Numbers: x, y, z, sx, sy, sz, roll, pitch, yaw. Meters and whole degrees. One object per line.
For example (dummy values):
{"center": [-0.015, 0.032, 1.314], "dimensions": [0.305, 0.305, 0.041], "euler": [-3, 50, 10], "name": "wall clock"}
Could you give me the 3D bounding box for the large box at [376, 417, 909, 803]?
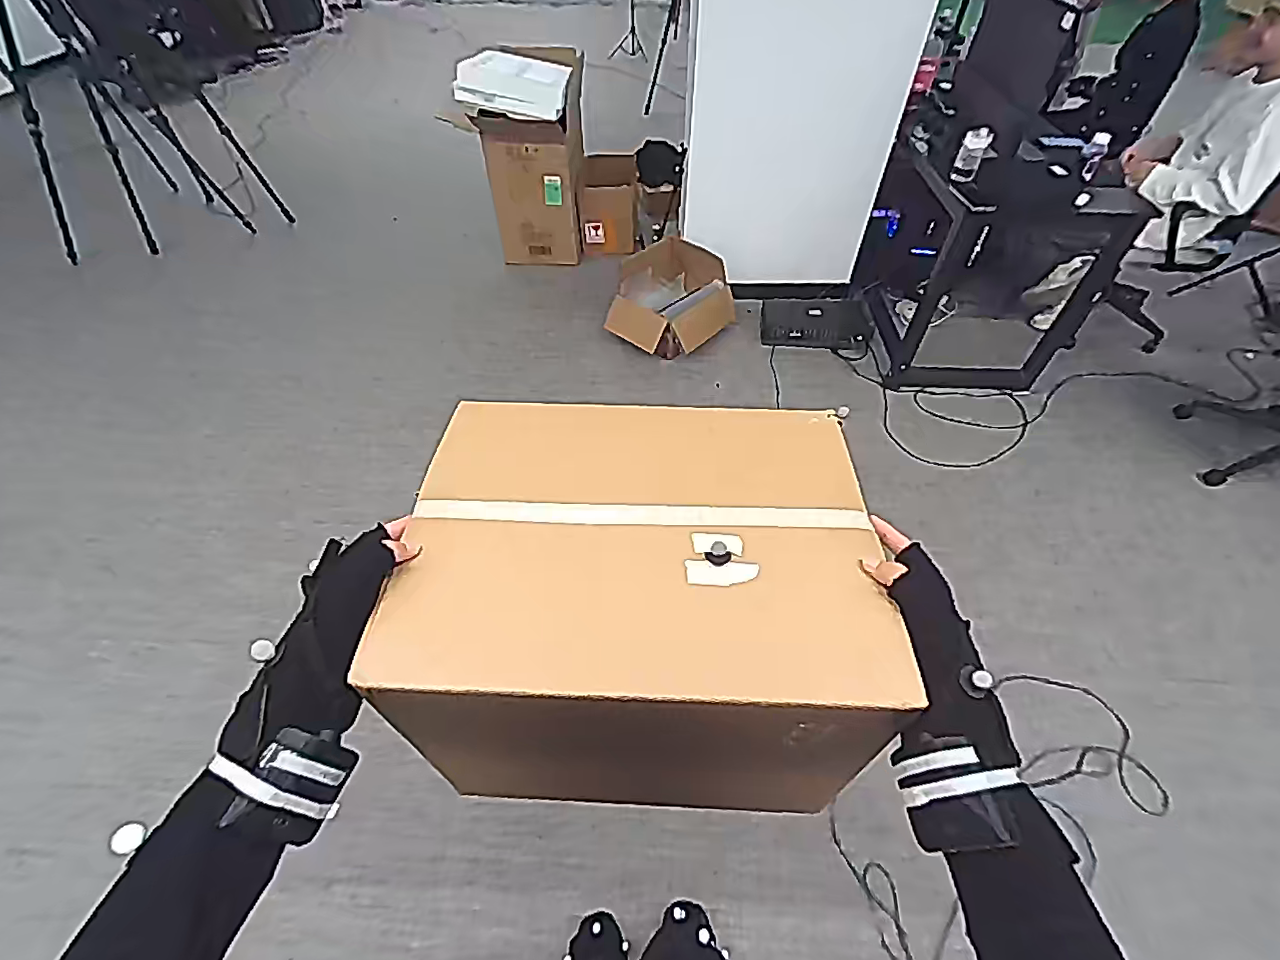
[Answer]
{"center": [0.003, 0.146, 0.605], "dimensions": [0.408, 0.320, 0.320], "euler": [2, 47, 2], "name": "large box"}
